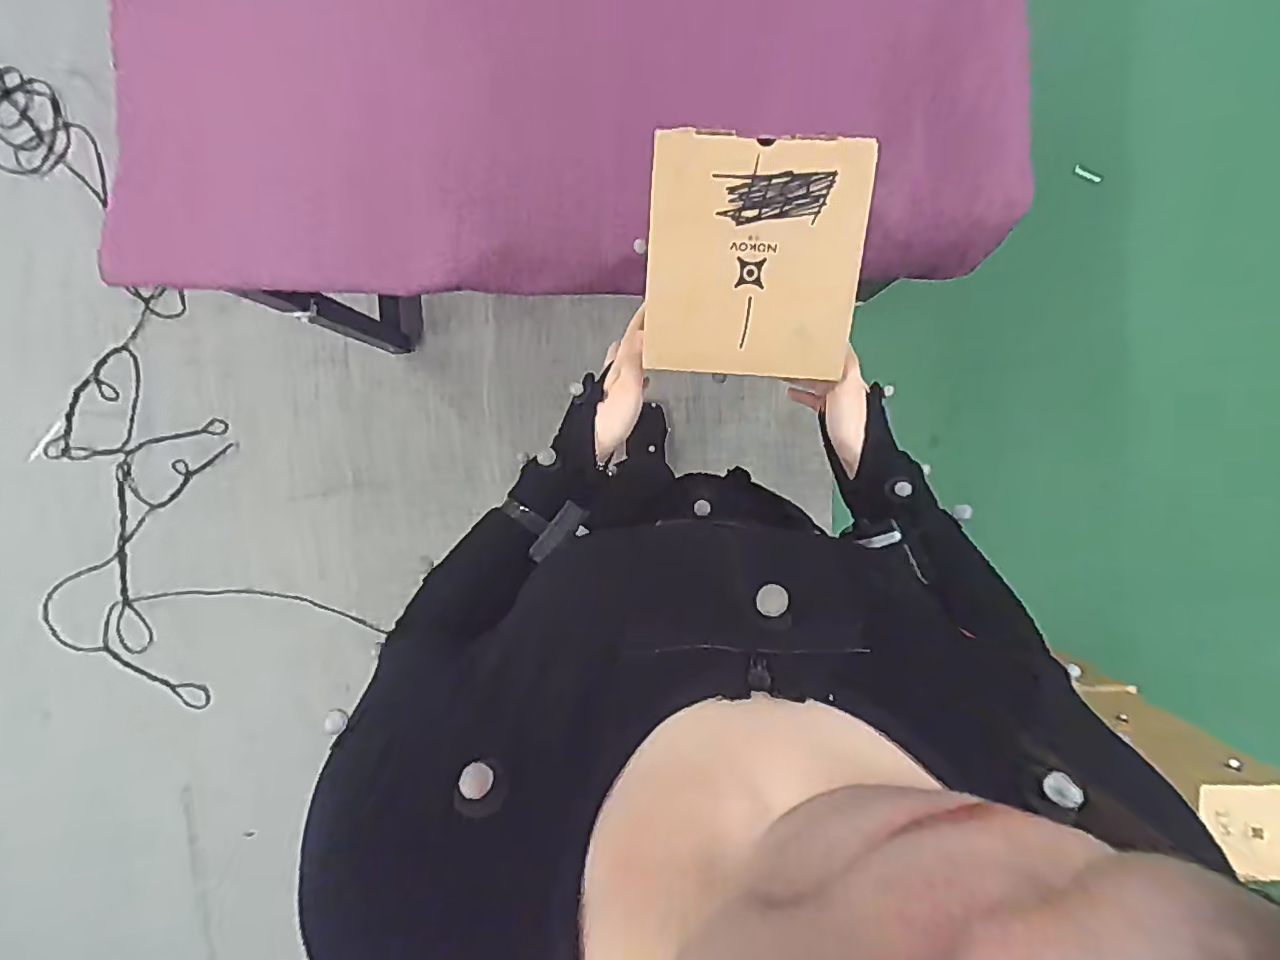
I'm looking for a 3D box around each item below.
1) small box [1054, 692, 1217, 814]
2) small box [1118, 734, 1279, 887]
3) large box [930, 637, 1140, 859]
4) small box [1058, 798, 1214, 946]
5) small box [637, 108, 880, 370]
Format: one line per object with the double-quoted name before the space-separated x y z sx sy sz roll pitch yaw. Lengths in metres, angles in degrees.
"small box" 0.999 0.549 1.102 0.179 0.176 0.168 0 94 1
"small box" 0.993 0.561 0.938 0.179 0.176 0.168 -1 93 2
"large box" 0.955 0.641 1.351 0.320 0.320 0.408 -1 94 2
"small box" 1.007 0.797 1.113 0.168 0.176 0.179 5 93 1
"small box" 0.088 -0.197 0.482 0.168 0.176 0.179 4 106 3
